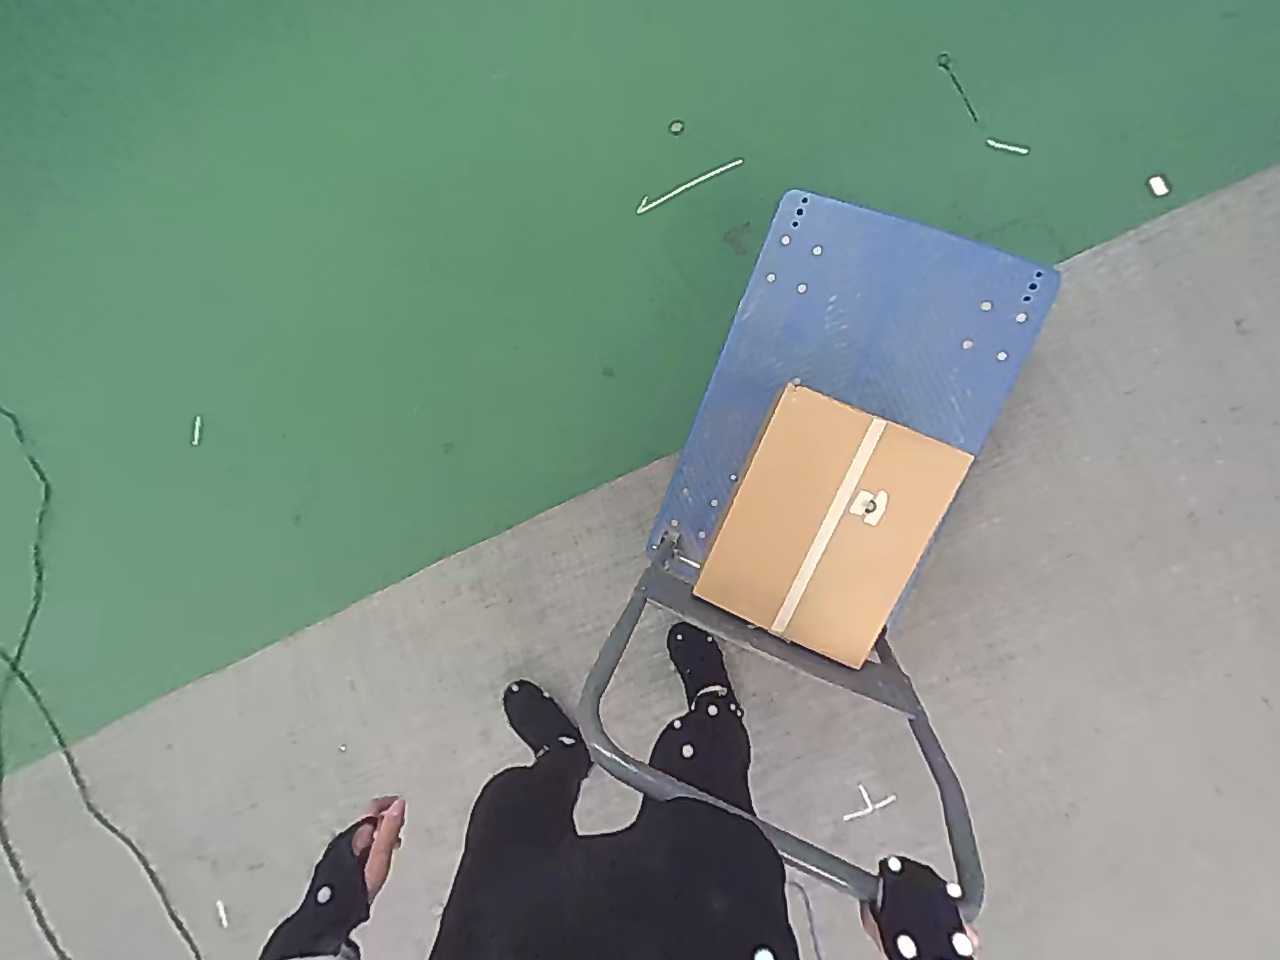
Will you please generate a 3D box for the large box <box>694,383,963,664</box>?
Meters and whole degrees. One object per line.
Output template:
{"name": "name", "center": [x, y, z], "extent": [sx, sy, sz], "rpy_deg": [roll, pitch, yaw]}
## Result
{"name": "large box", "center": [0.332, 0.063, 1.053], "extent": [0.320, 0.320, 0.408], "rpy_deg": [24, 100, 7]}
